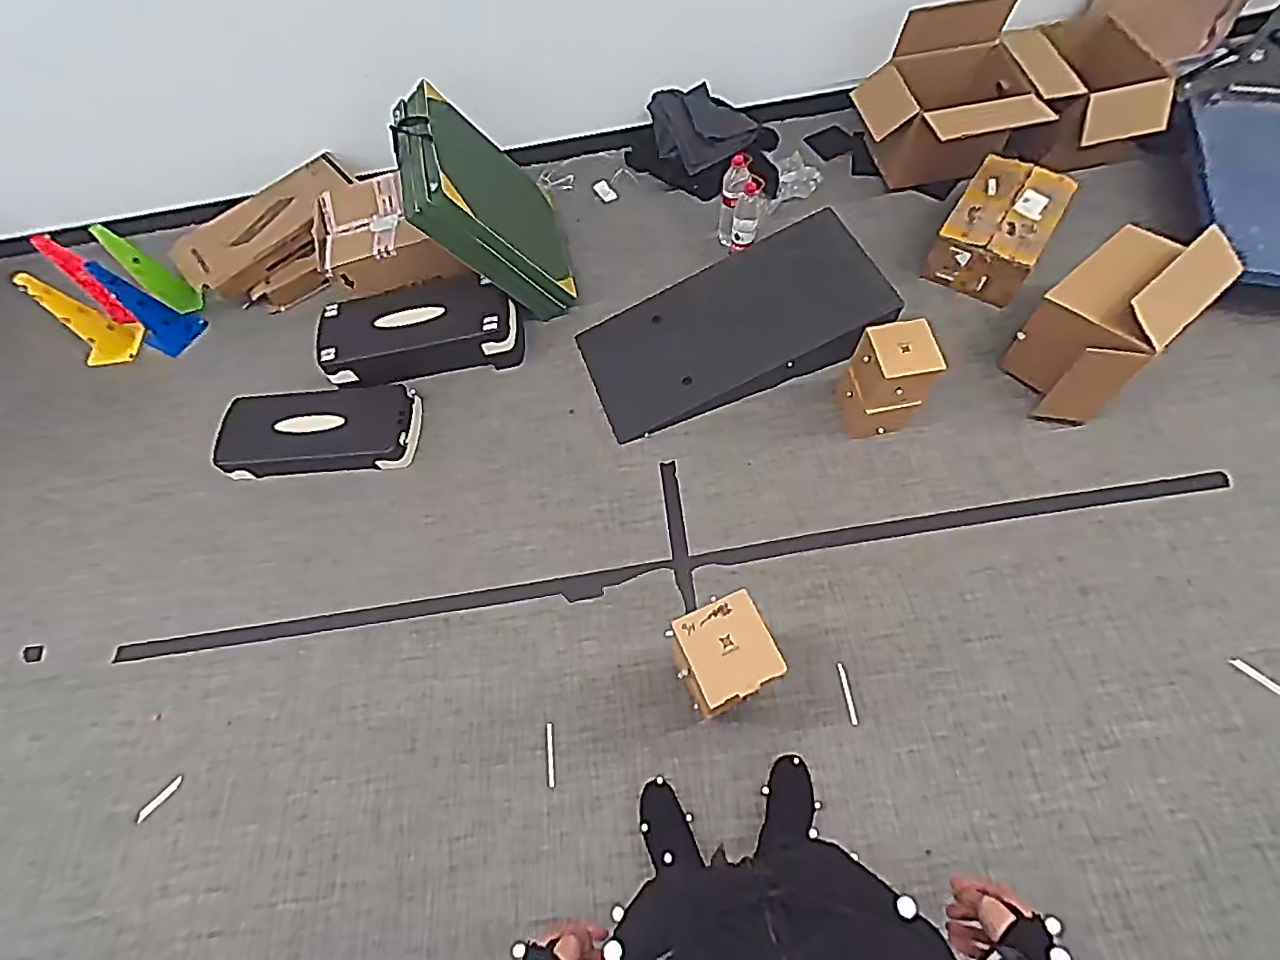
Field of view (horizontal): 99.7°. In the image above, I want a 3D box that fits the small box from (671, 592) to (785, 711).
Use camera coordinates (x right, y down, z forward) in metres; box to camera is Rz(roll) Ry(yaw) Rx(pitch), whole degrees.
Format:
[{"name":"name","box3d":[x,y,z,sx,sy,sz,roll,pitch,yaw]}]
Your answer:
[{"name":"small box","box3d":[0.176,0.355,1.112,0.168,0.176,0.179,-23,66,-5]}]
